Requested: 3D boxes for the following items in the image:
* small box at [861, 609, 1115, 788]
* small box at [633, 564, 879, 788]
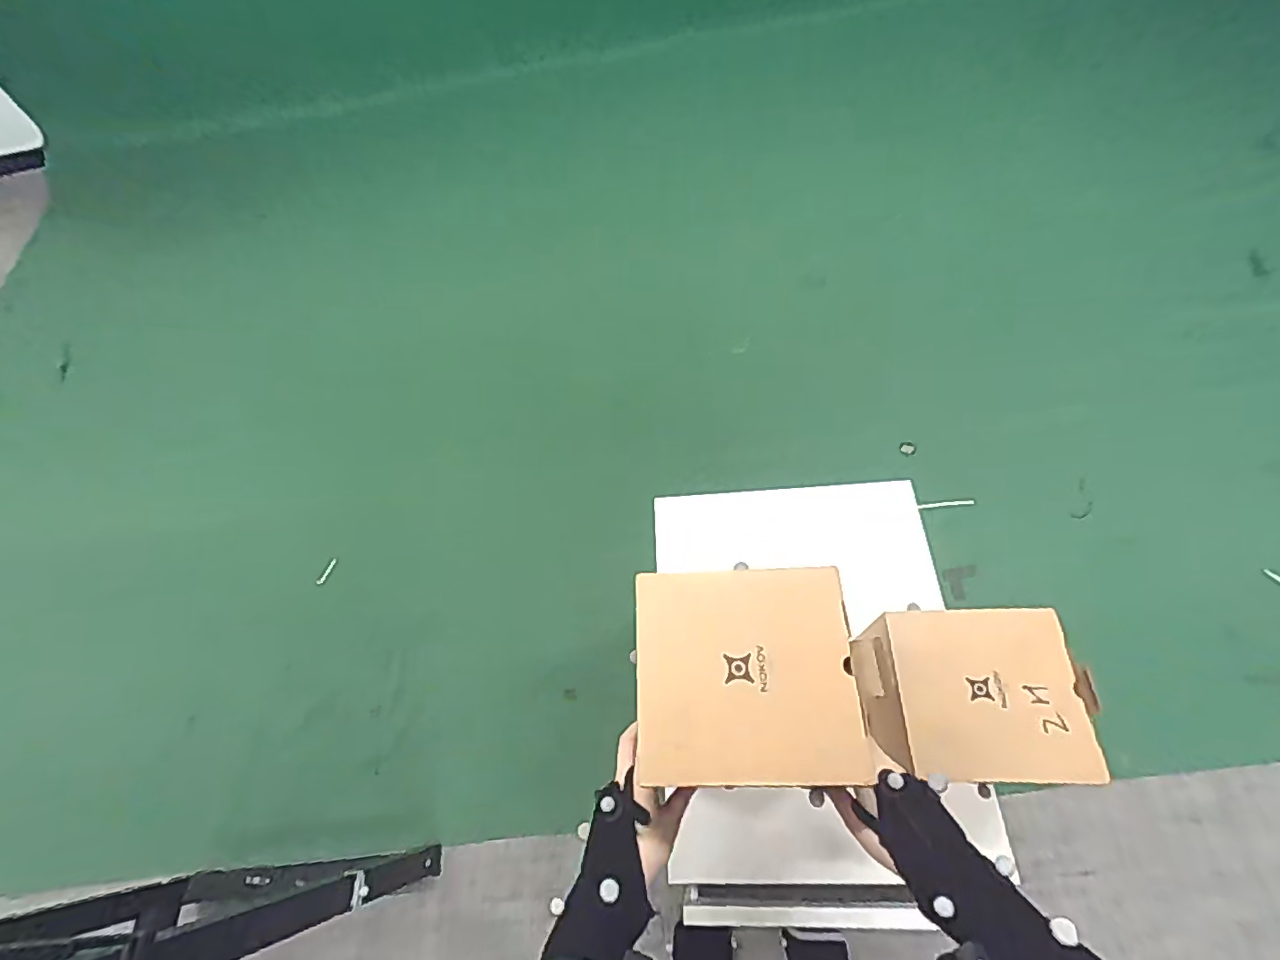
[{"bbox_3d":[0.359,0.246,0.607,0.179,0.176,0.168,-2,64,7],"label":"small box"},{"bbox_3d":[0.091,0.184,0.492,0.179,0.176,0.168,-4,63,5],"label":"small box"}]
